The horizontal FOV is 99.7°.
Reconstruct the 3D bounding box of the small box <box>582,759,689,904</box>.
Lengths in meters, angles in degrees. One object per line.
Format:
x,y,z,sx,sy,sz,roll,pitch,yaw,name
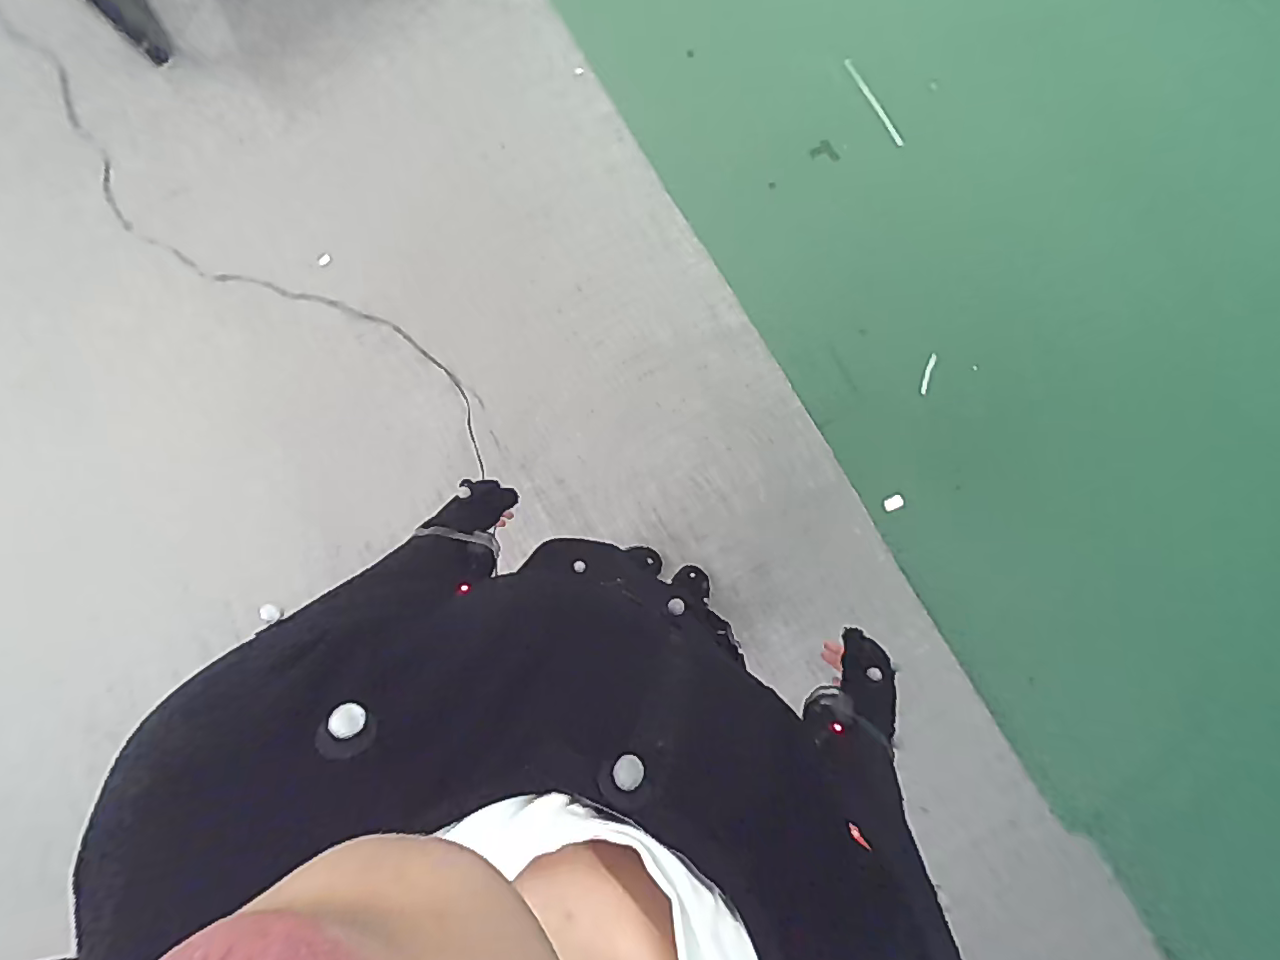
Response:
-0.005,0.743,1.165,0.168,0.176,0.179,-28,81,-2,small box
